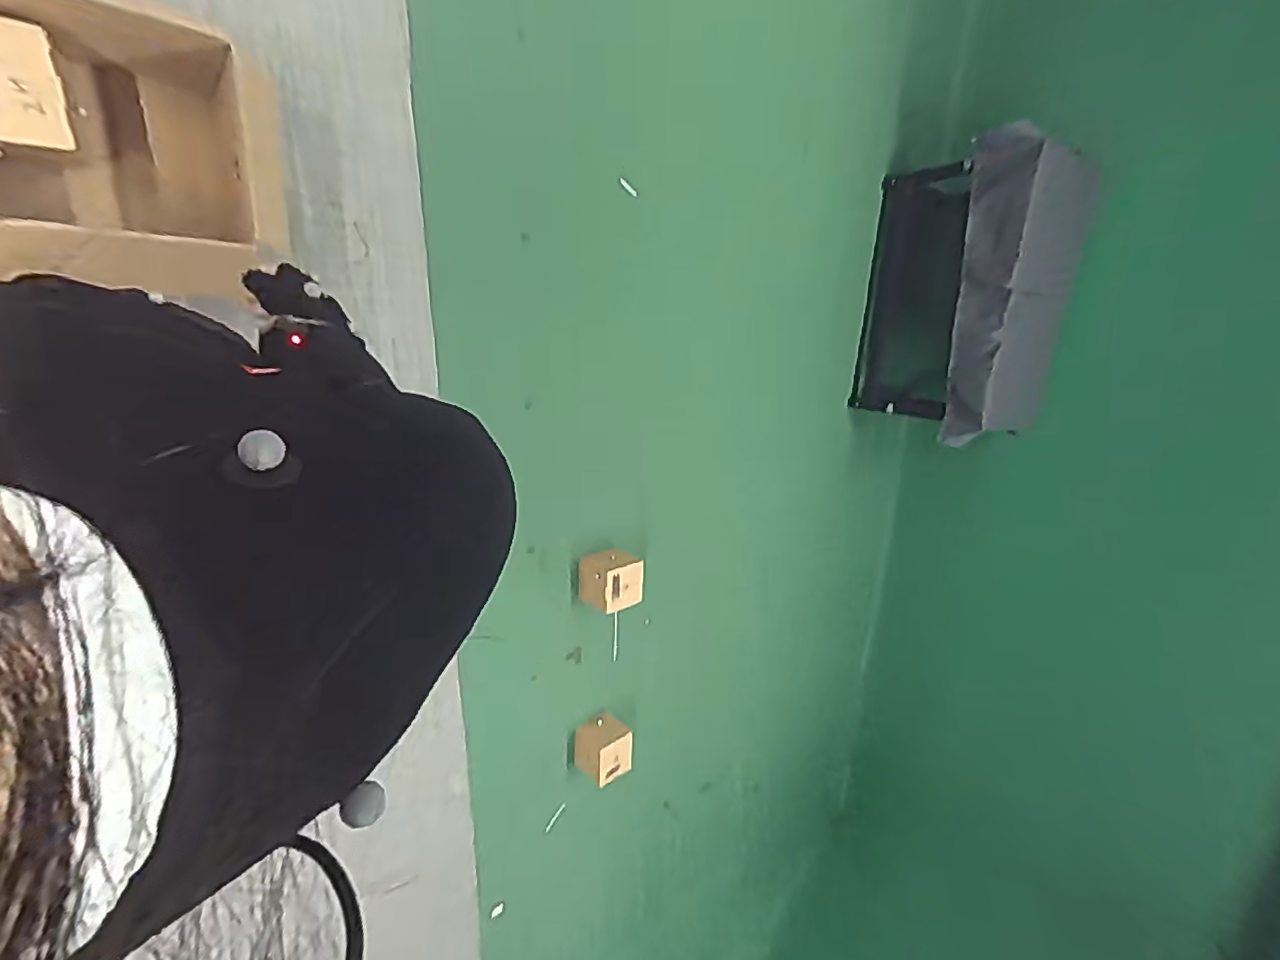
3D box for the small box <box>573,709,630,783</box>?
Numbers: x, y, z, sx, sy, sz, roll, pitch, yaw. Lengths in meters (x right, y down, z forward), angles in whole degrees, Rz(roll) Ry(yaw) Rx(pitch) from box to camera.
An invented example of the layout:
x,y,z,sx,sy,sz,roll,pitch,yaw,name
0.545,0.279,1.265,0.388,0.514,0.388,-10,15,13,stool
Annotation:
x,y,z,sx,sy,sz,roll,pitch,yaw,name
-0.159,1.070,2.191,0.168,0.176,0.179,-11,110,-41,small box
